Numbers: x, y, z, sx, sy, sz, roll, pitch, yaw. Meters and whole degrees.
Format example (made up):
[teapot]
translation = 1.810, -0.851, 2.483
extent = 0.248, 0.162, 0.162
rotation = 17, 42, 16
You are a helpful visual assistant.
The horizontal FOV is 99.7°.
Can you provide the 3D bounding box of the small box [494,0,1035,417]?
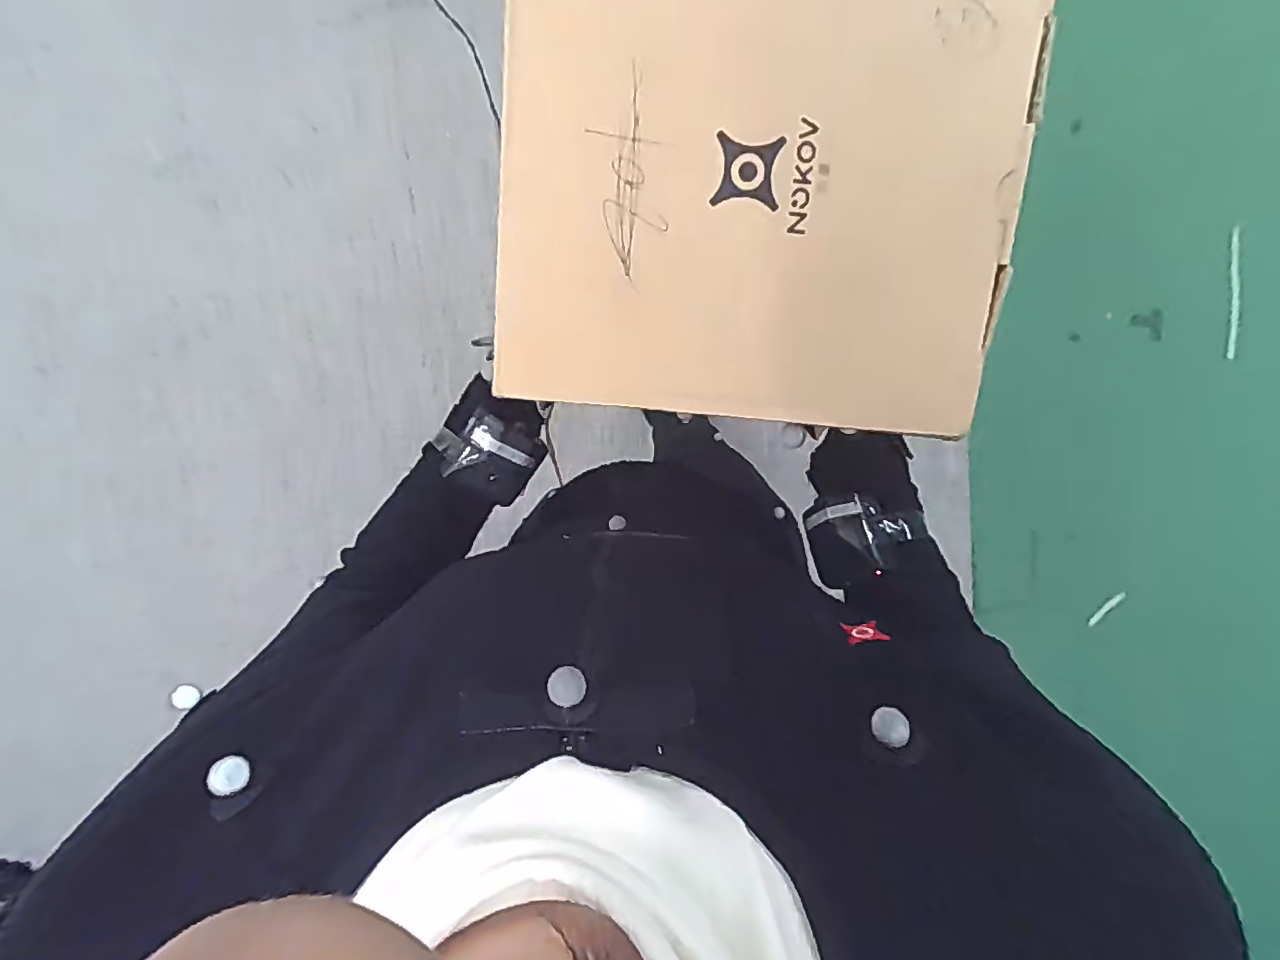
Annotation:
[small box]
translation = 0.040, -0.126, 0.265
extent = 0.179, 0.176, 0.168
rotation = 5, 101, 2
